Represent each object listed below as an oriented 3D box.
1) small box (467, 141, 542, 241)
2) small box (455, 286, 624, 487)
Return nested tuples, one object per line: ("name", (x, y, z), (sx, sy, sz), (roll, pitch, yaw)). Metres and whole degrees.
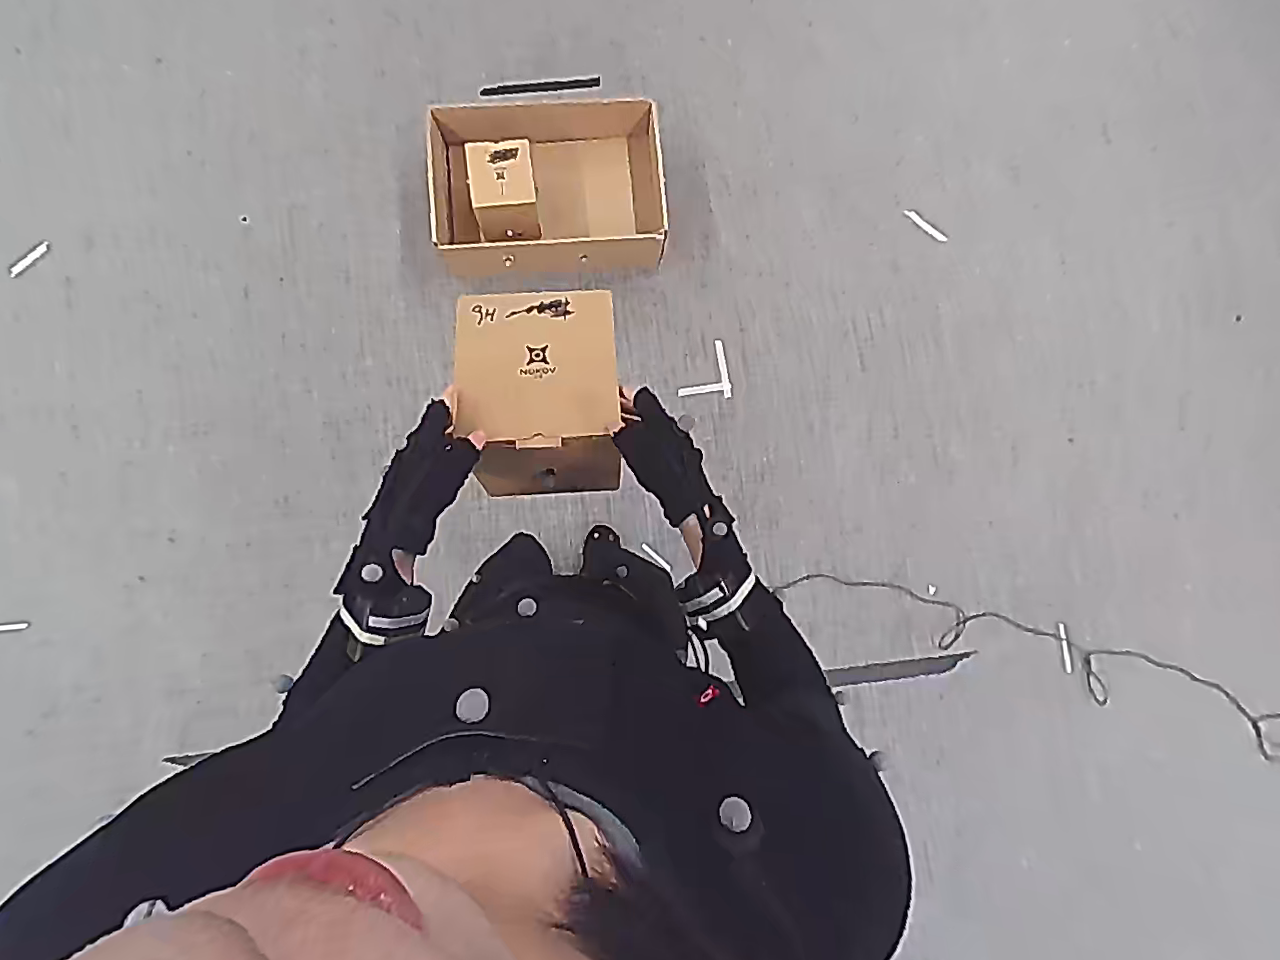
("small box", (-0.364, -0.778, 1.468), (0.168, 0.176, 0.179), (-7, 85, -5))
("small box", (-0.105, -0.095, 0.620), (0.168, 0.176, 0.179), (-4, 72, -4))
